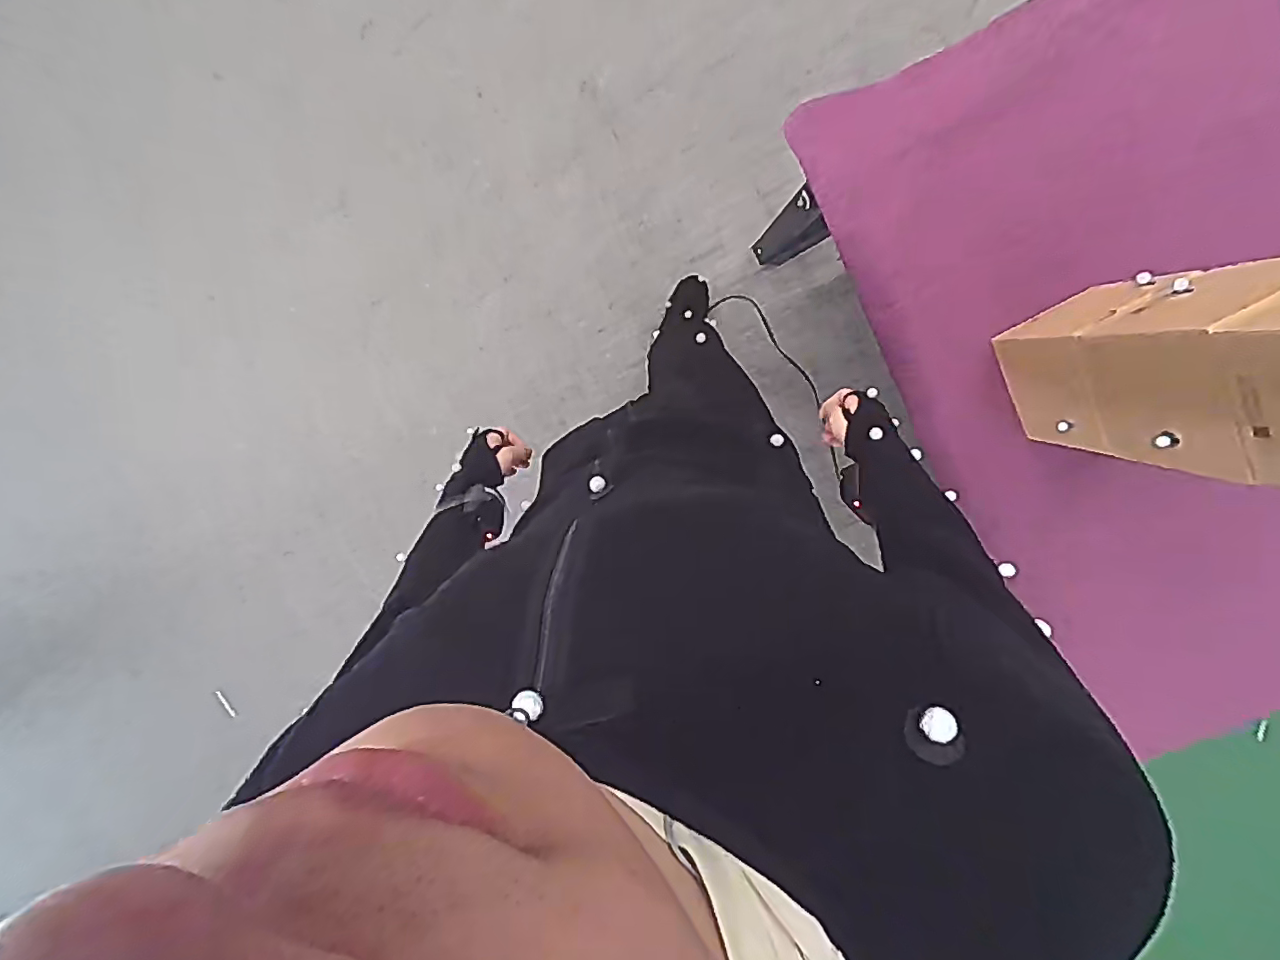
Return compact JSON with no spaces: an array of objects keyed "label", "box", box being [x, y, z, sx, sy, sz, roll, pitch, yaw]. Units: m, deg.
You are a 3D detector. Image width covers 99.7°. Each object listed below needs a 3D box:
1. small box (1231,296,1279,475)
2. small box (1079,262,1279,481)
[{"label":"small box","box":[0.646,-0.094,0.433,0.179,0.176,0.168,-29,101,7]},{"label":"small box","box":[0.643,-0.125,0.592,0.168,0.176,0.179,-28,100,6]}]
